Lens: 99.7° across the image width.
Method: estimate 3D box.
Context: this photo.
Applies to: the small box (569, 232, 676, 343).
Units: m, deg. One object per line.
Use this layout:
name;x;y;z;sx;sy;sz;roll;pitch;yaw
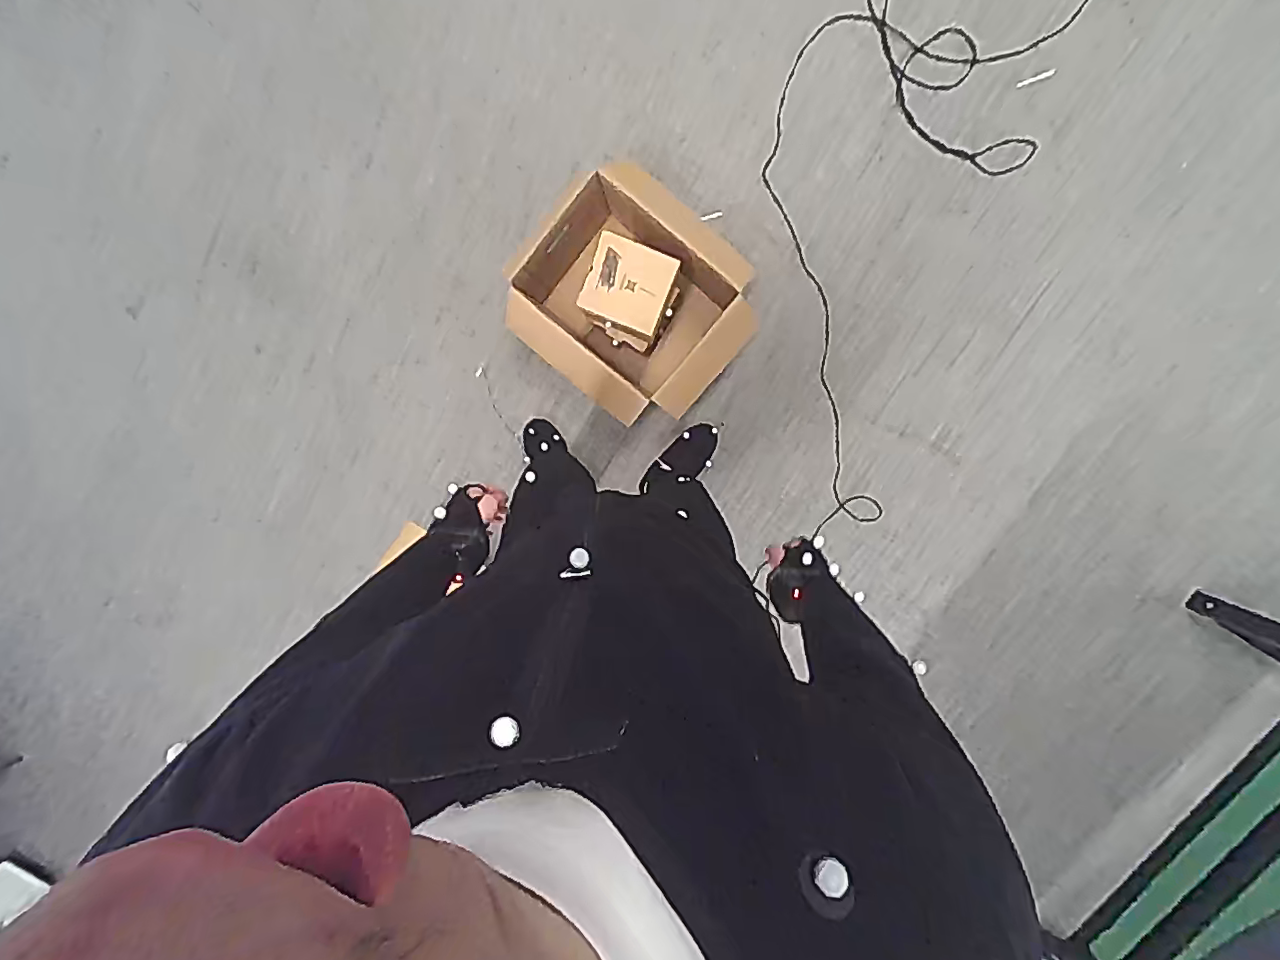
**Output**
small box;-0.033;-0.415;1.203;0.179;0.176;0.168;26;101;-1
